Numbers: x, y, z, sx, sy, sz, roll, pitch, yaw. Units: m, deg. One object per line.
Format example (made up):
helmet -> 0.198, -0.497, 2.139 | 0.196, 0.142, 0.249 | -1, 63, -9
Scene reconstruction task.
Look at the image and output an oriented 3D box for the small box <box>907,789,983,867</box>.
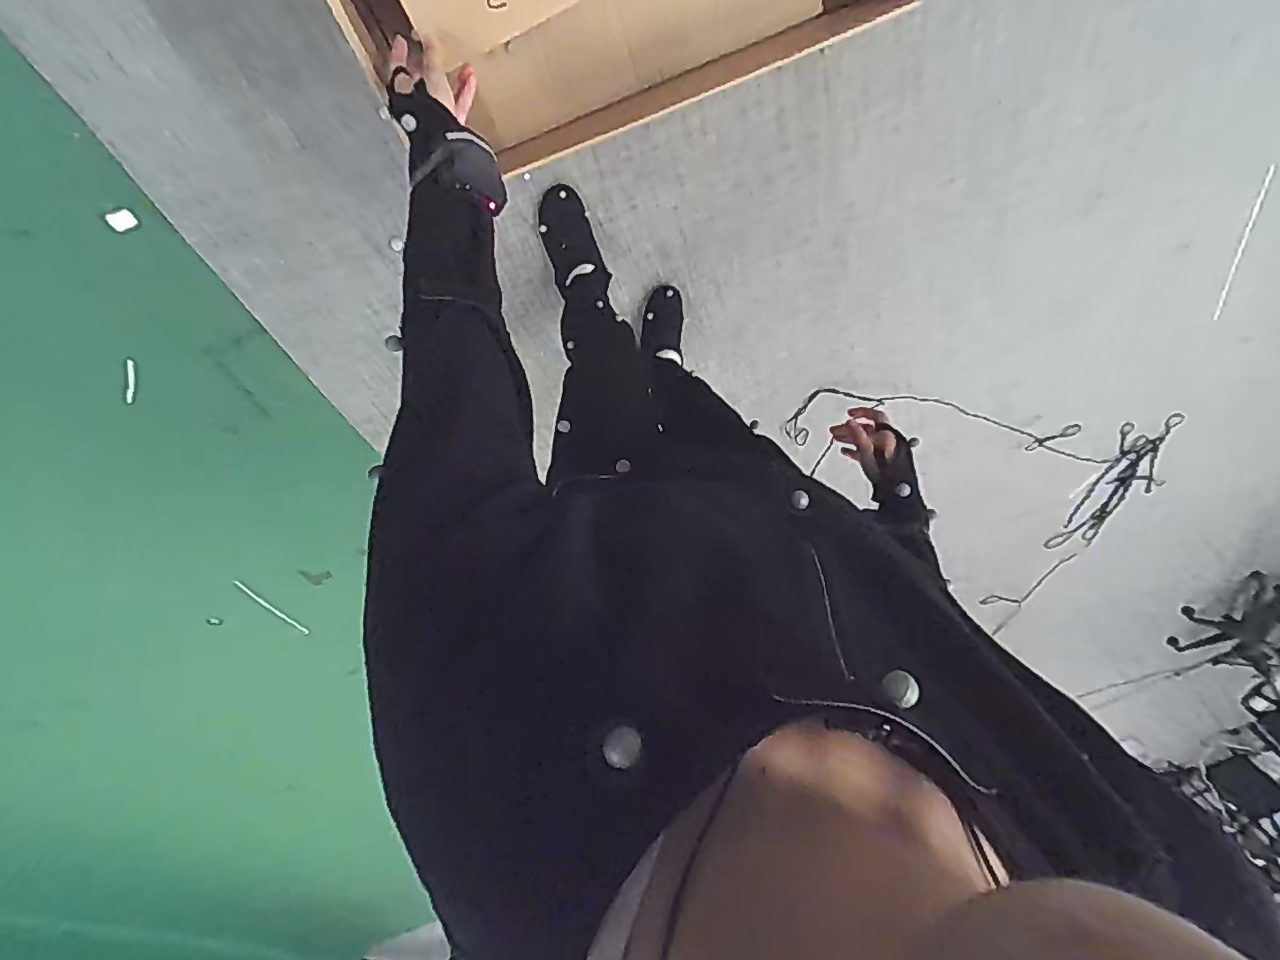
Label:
small box -> 1.063, 1.216, 1.899 | 0.168, 0.176, 0.179 | -19, 130, 2
